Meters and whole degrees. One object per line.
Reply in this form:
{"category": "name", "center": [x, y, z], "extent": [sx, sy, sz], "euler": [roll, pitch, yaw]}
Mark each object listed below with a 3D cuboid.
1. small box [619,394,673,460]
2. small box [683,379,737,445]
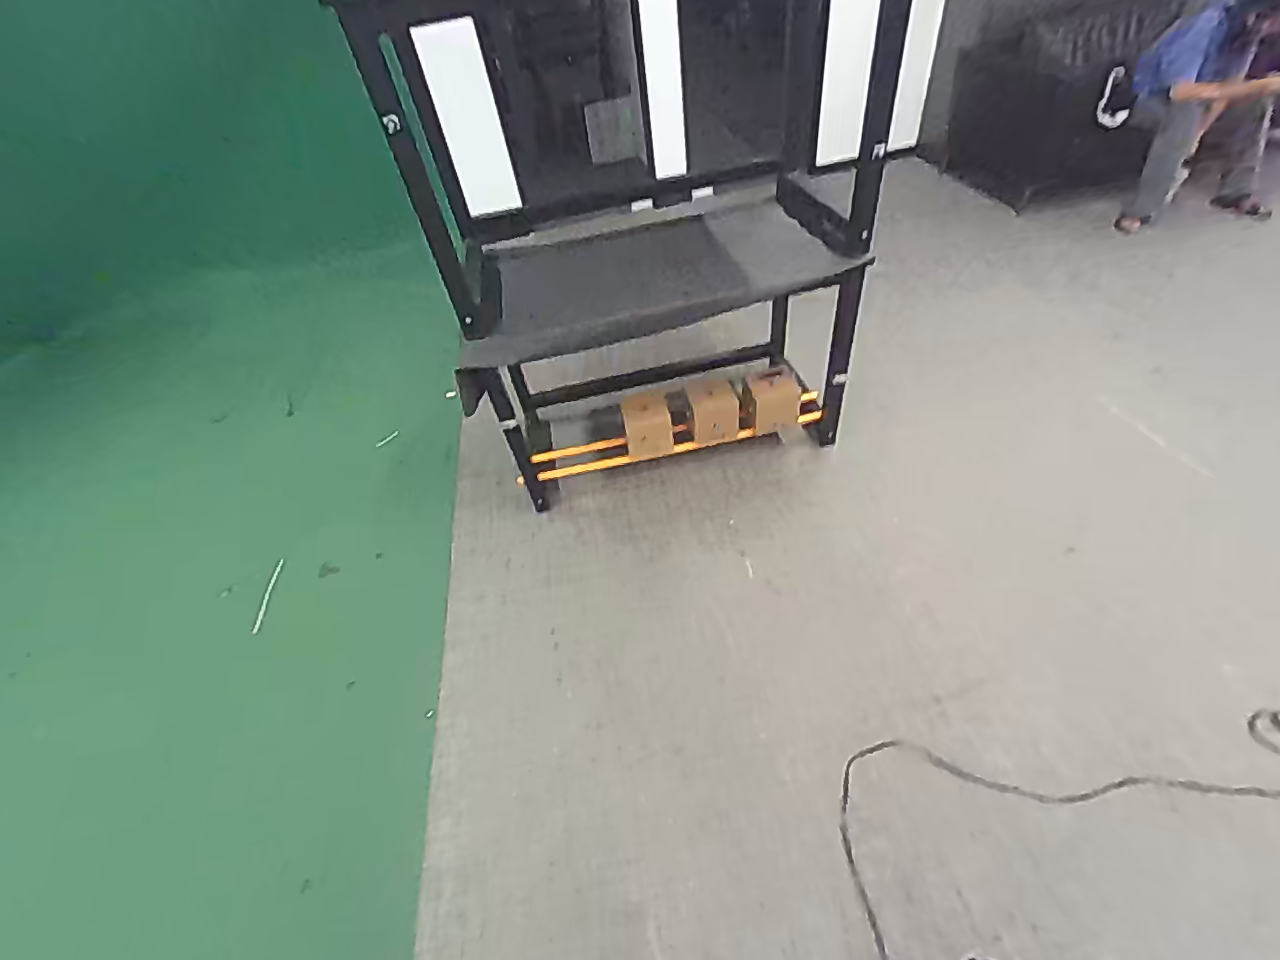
{"category": "small box", "center": [0.024, -0.191, 2.015], "extent": [0.168, 0.176, 0.179], "euler": [-11, 46, -3]}
{"category": "small box", "center": [0.264, -0.247, 2.028], "extent": [0.168, 0.176, 0.179], "euler": [-12, 46, -3]}
